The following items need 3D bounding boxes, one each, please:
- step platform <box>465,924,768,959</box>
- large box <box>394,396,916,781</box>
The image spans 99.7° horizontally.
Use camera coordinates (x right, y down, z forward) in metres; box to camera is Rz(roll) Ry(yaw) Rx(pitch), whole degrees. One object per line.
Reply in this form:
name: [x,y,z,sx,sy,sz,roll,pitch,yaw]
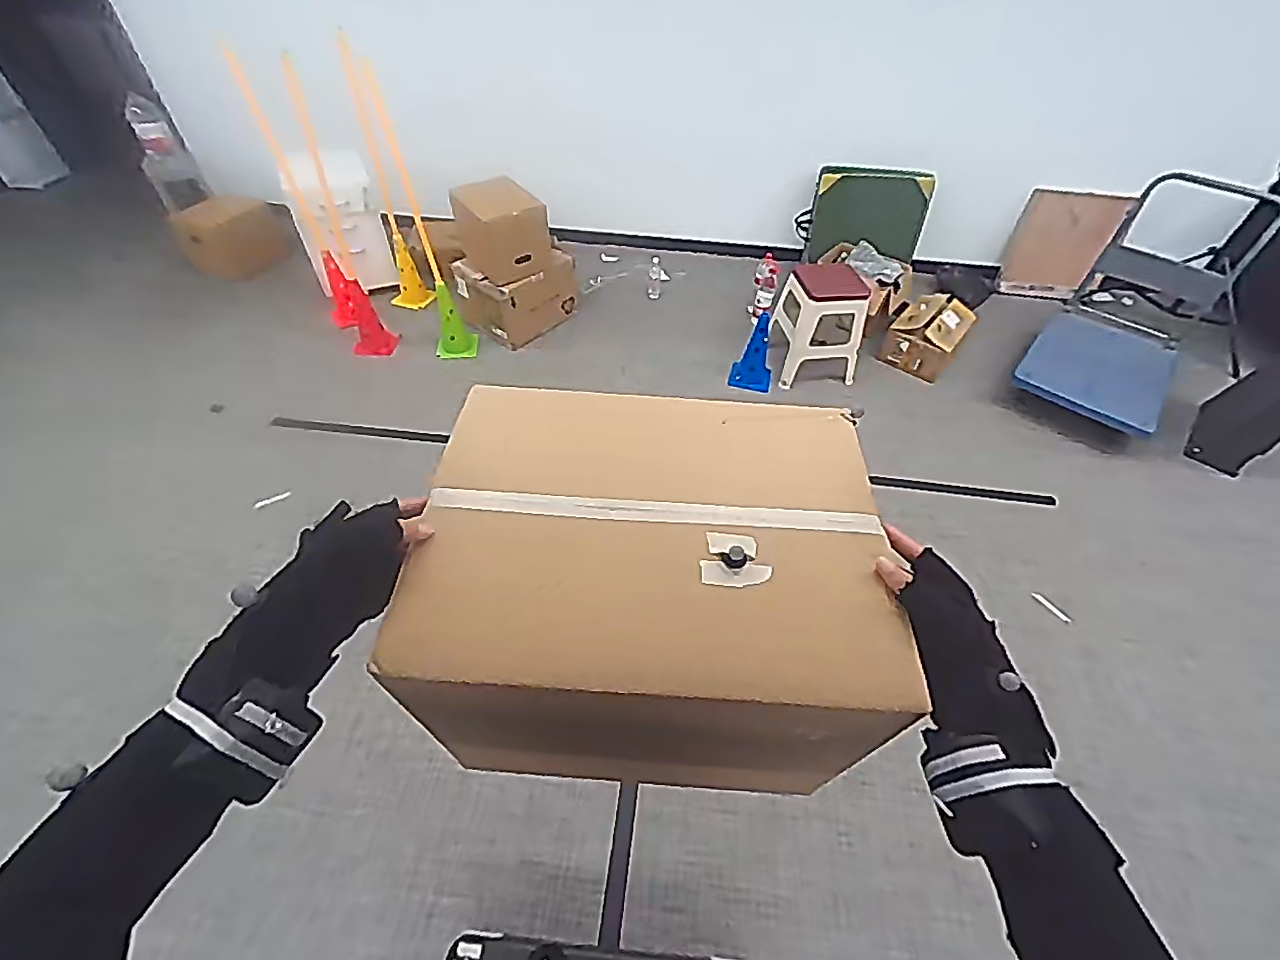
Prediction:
step platform: [-0.048,1.127,1.109,0.684,0.204,0.286,5,49,1]
large box: [0.010,0.130,0.611,0.408,0.320,0.320,4,51,0]
